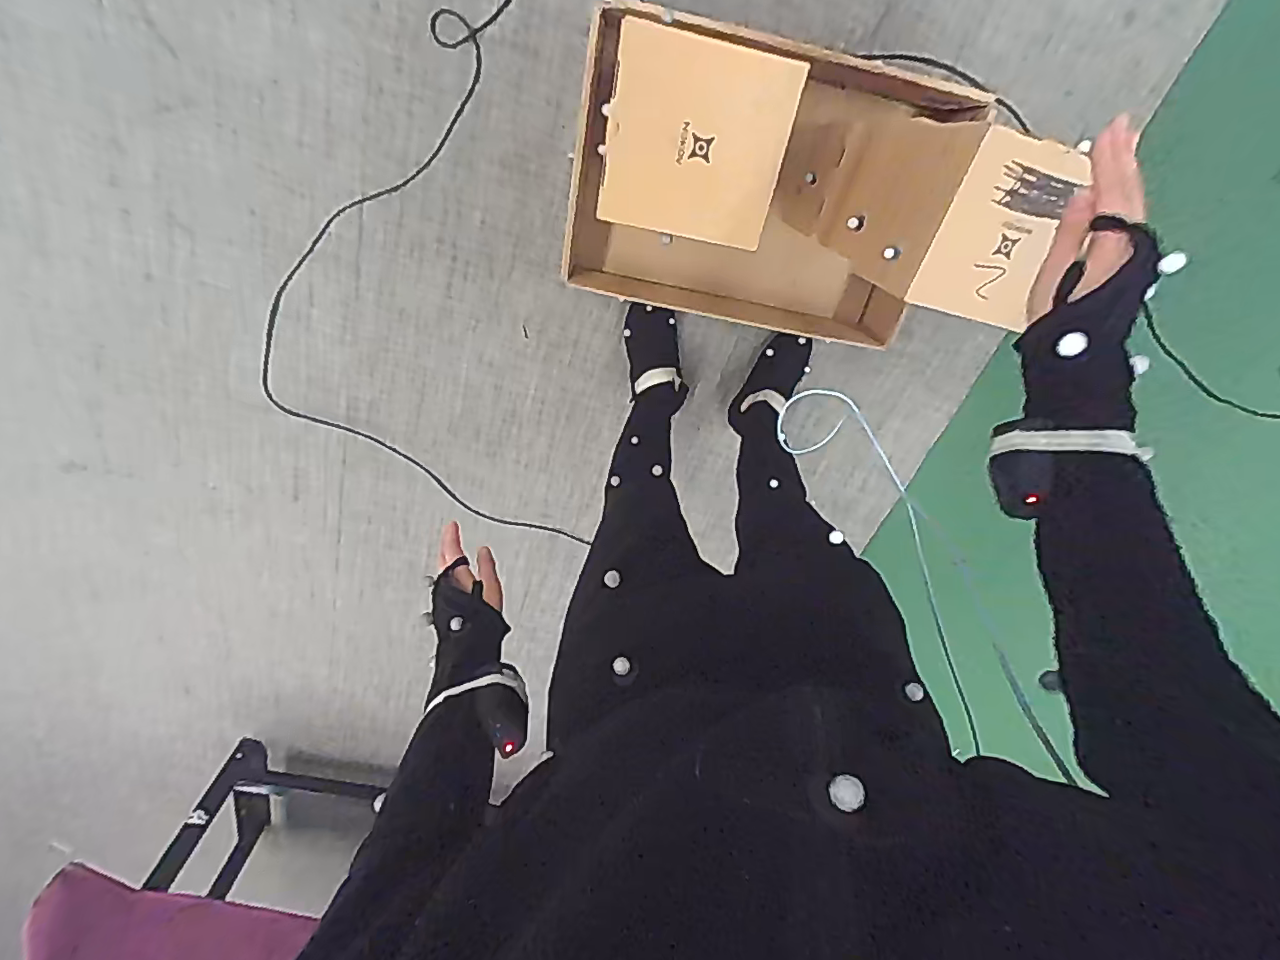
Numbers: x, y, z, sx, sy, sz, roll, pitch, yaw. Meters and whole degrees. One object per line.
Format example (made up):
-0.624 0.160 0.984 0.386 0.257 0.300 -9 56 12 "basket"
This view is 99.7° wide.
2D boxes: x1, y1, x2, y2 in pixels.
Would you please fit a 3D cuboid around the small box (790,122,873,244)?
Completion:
0.376 -0.480 0.915 0.179 0.176 0.168 14 120 -9 "small box"

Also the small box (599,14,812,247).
0.058 -0.374 0.592 0.179 0.176 0.168 10 123 -6 "small box"

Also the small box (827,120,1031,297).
0.393 -0.389 0.778 0.168 0.176 0.179 13 120 -10 "small box"
